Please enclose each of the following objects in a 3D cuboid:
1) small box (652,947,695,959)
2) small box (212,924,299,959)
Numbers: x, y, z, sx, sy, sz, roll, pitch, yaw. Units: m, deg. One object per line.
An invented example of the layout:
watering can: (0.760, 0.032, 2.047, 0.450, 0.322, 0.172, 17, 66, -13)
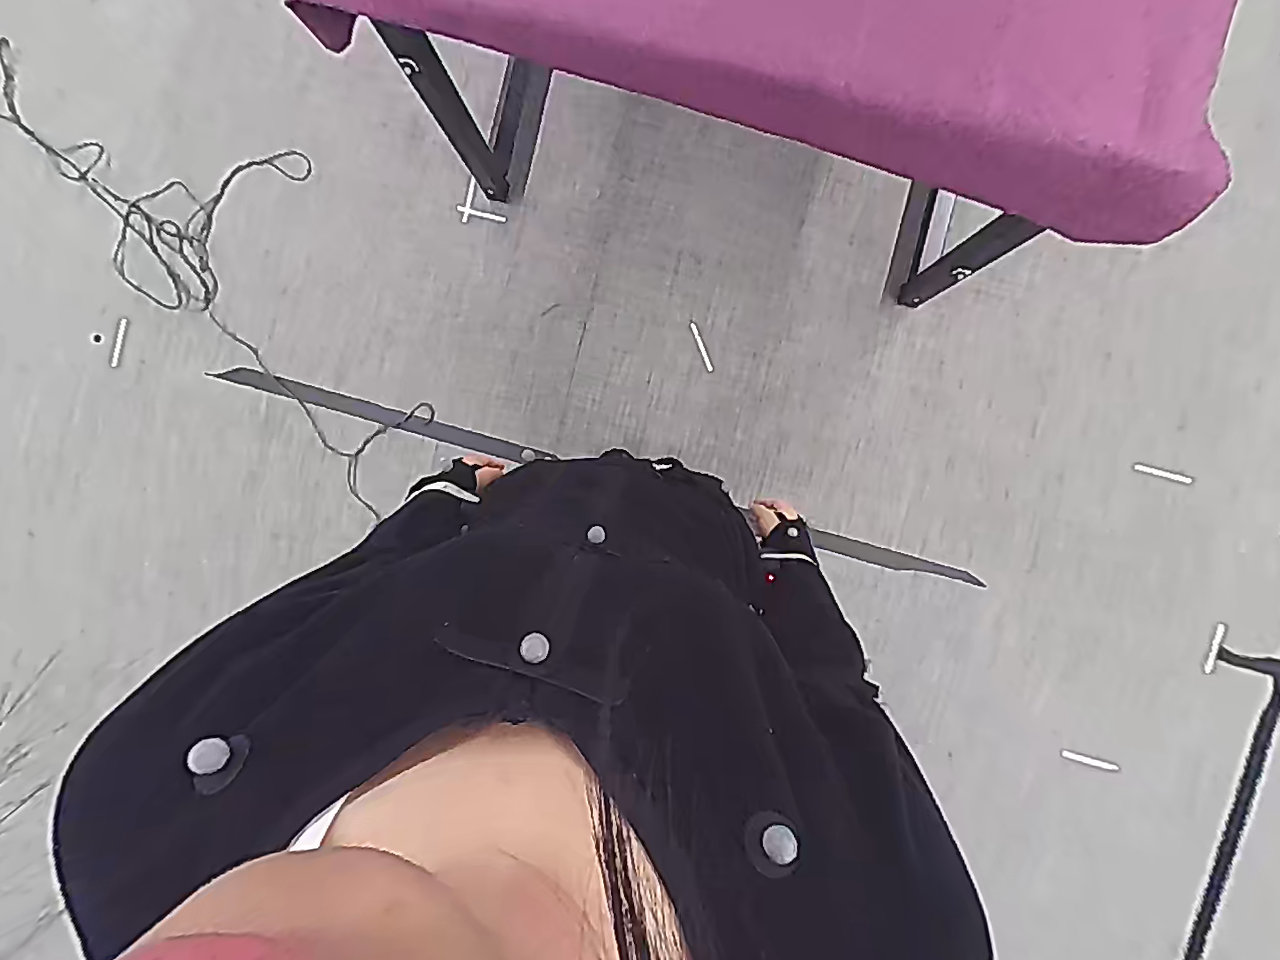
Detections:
small box: (0.095, 1.399, 1.419, 0.168, 0.176, 0.179, -26, 92, 2)
small box: (-0.870, 1.128, 1.175, 0.179, 0.176, 0.168, -24, 91, 3)
